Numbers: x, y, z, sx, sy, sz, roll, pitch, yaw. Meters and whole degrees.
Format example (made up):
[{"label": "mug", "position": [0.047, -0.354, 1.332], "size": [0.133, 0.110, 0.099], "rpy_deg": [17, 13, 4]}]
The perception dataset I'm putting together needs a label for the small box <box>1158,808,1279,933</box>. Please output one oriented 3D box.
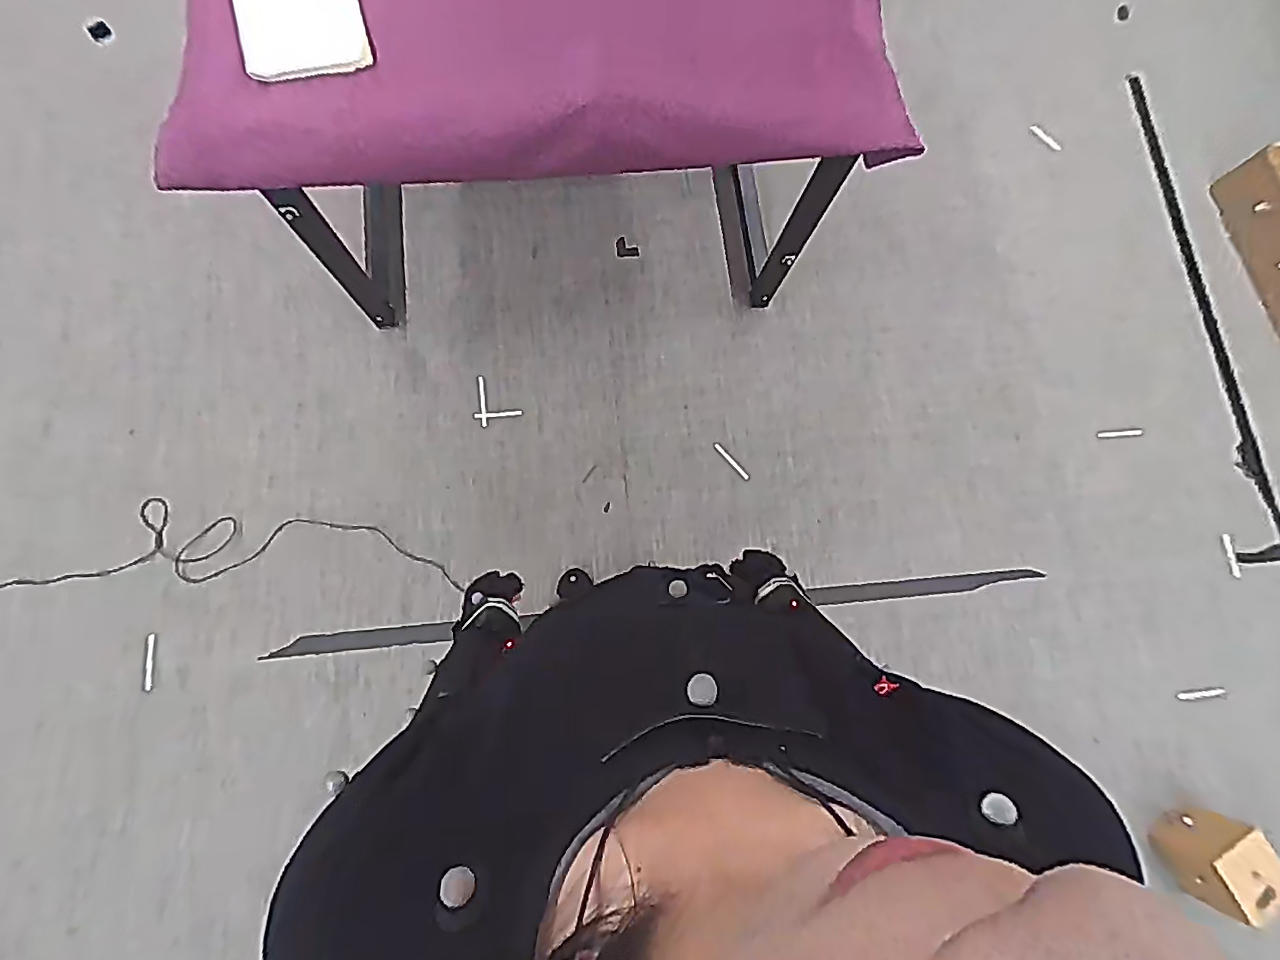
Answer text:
[{"label": "small box", "position": [1.545, 1.012, 1.420], "size": [0.168, 0.176, 0.179], "rpy_deg": [-27, 82, -9]}]
